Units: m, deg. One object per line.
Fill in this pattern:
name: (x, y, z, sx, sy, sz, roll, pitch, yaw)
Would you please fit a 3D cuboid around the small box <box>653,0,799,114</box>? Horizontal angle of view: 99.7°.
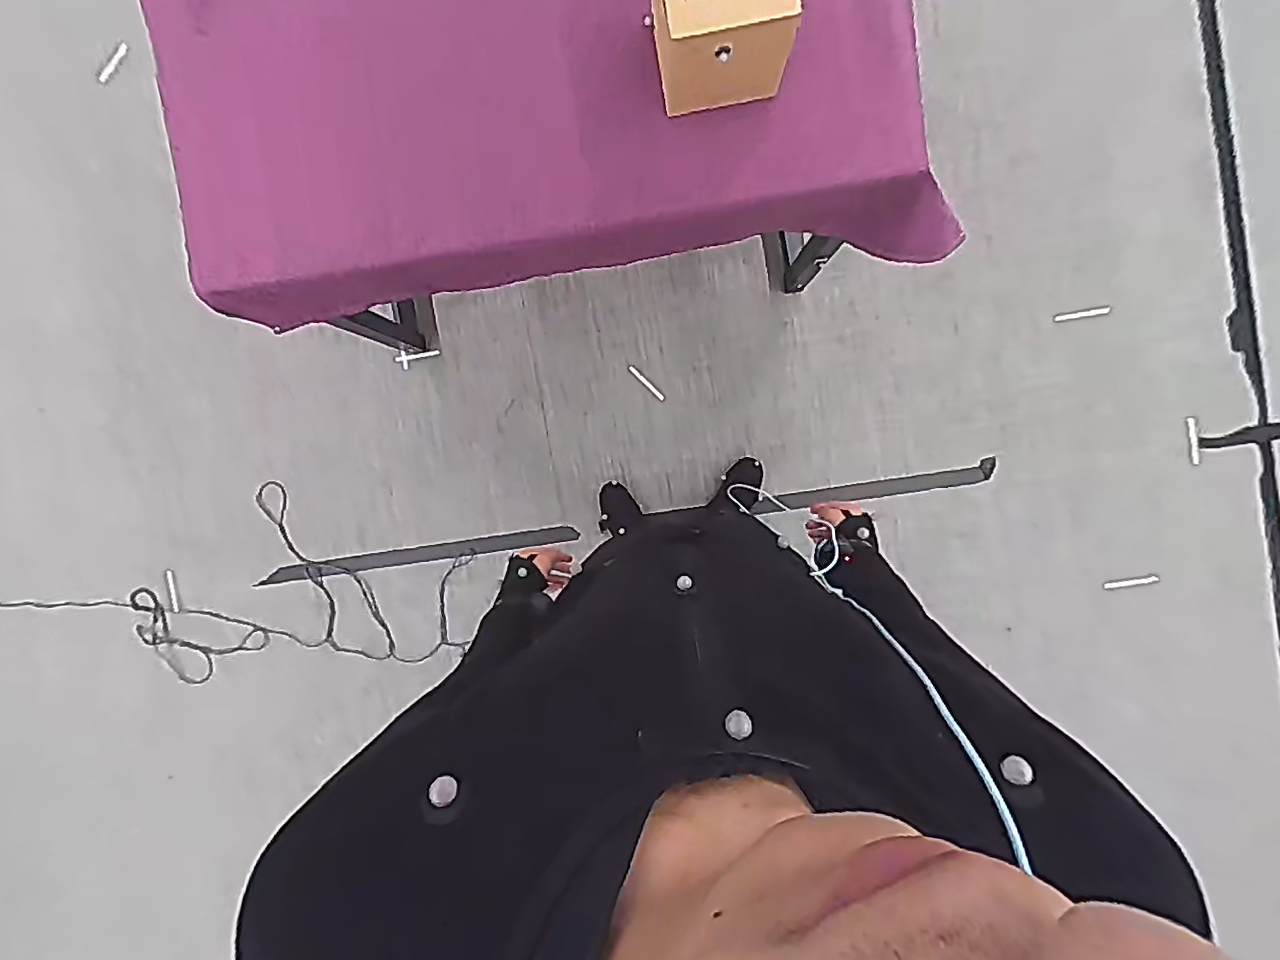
small box: (0.112, -0.668, 0.780, 0.179, 0.176, 0.168, -10, 93, 2)
